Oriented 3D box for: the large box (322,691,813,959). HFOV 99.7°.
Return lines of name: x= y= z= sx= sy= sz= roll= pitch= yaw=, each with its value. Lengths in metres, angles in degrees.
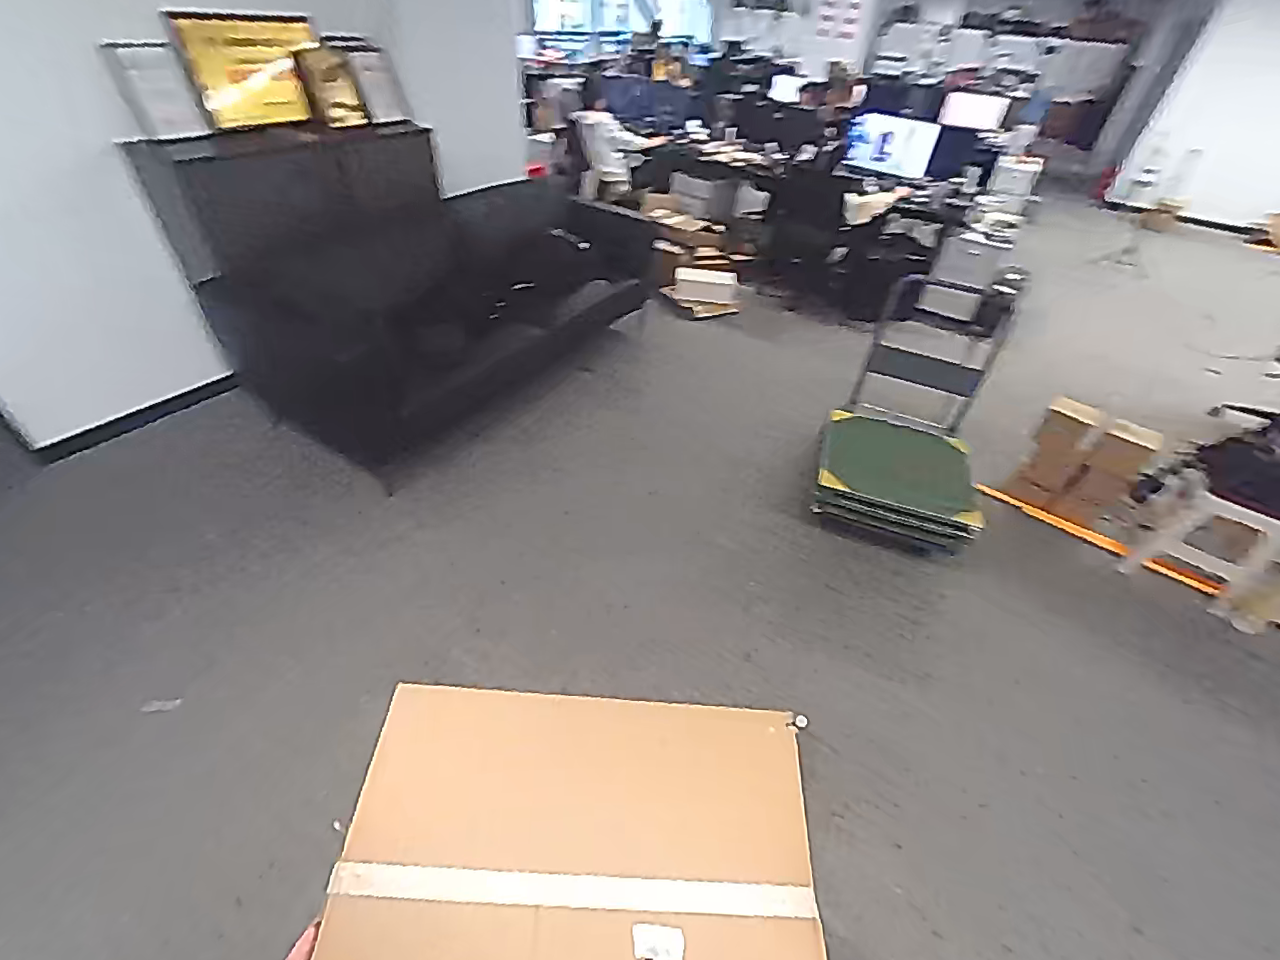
large box: x=-0.067 y=0.440 z=0.582 sx=0.408 sy=0.320 sz=0.320 roll=5 pitch=53 yaw=-4
